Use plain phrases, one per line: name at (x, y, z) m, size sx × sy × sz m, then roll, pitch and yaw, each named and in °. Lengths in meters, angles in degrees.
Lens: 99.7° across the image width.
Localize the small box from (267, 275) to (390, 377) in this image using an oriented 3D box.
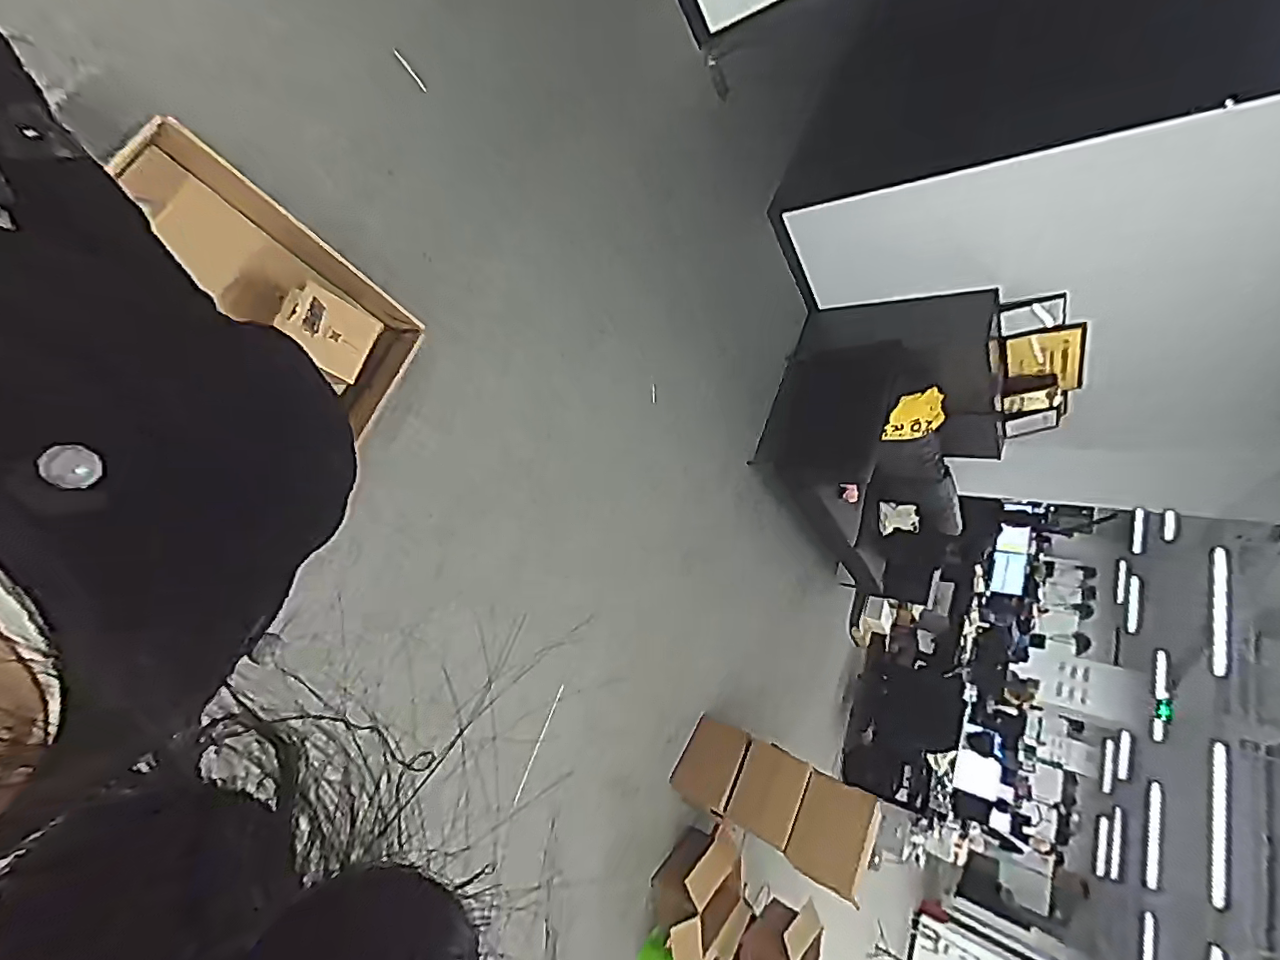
small box at (-0.742, -0.355, 1.284) m, size 0.179 × 0.176 × 0.168 m, roll 33°, pitch 71°, yaw -47°
